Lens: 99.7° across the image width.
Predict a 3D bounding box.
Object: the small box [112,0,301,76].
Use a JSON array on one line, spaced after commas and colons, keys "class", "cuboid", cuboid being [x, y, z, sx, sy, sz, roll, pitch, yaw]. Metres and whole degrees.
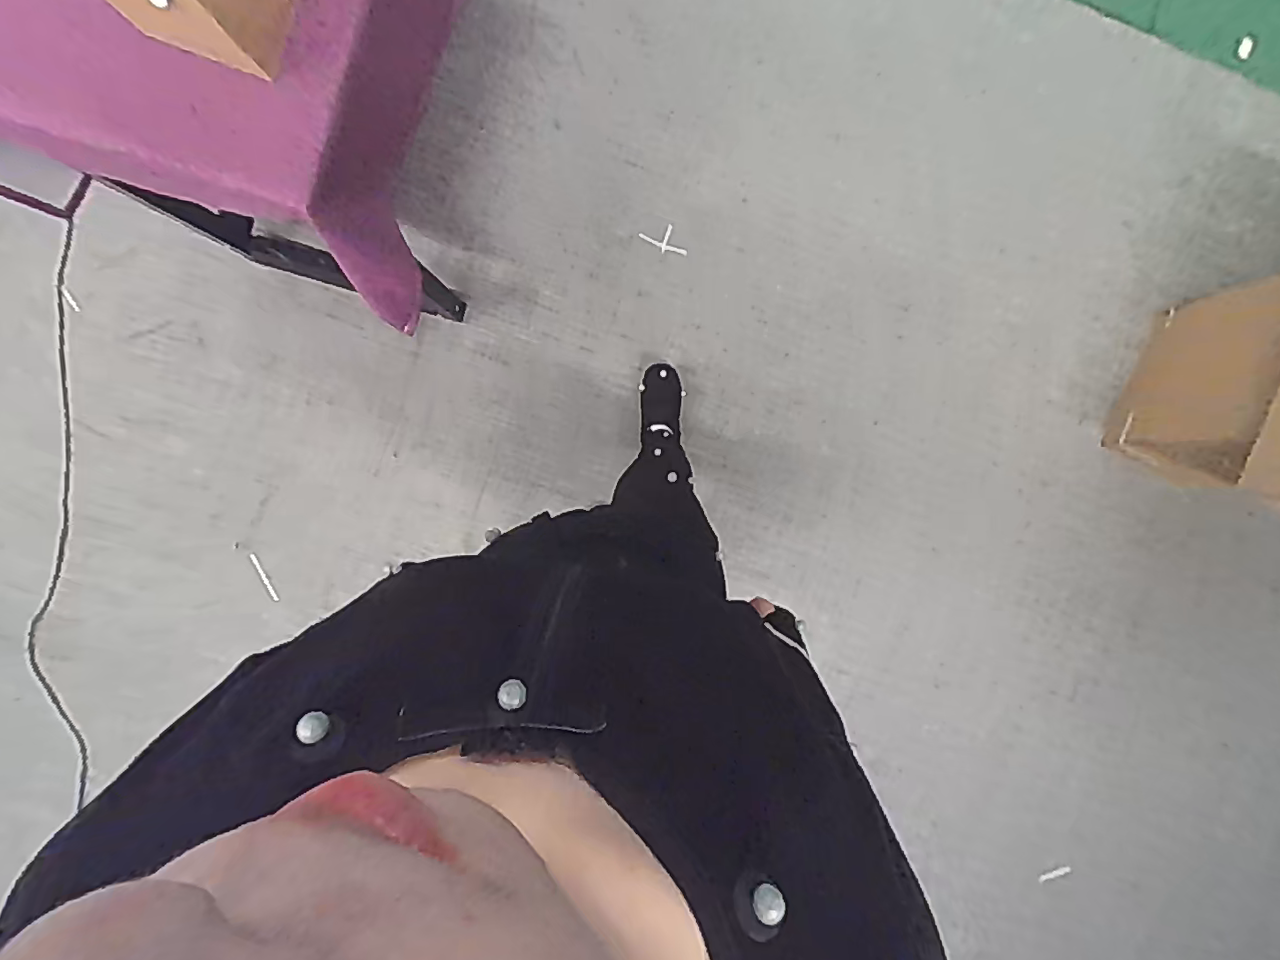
[{"class": "small box", "cuboid": [-0.528, -0.621, 0.625, 0.179, 0.176, 0.168, 20, 92, -2]}]
